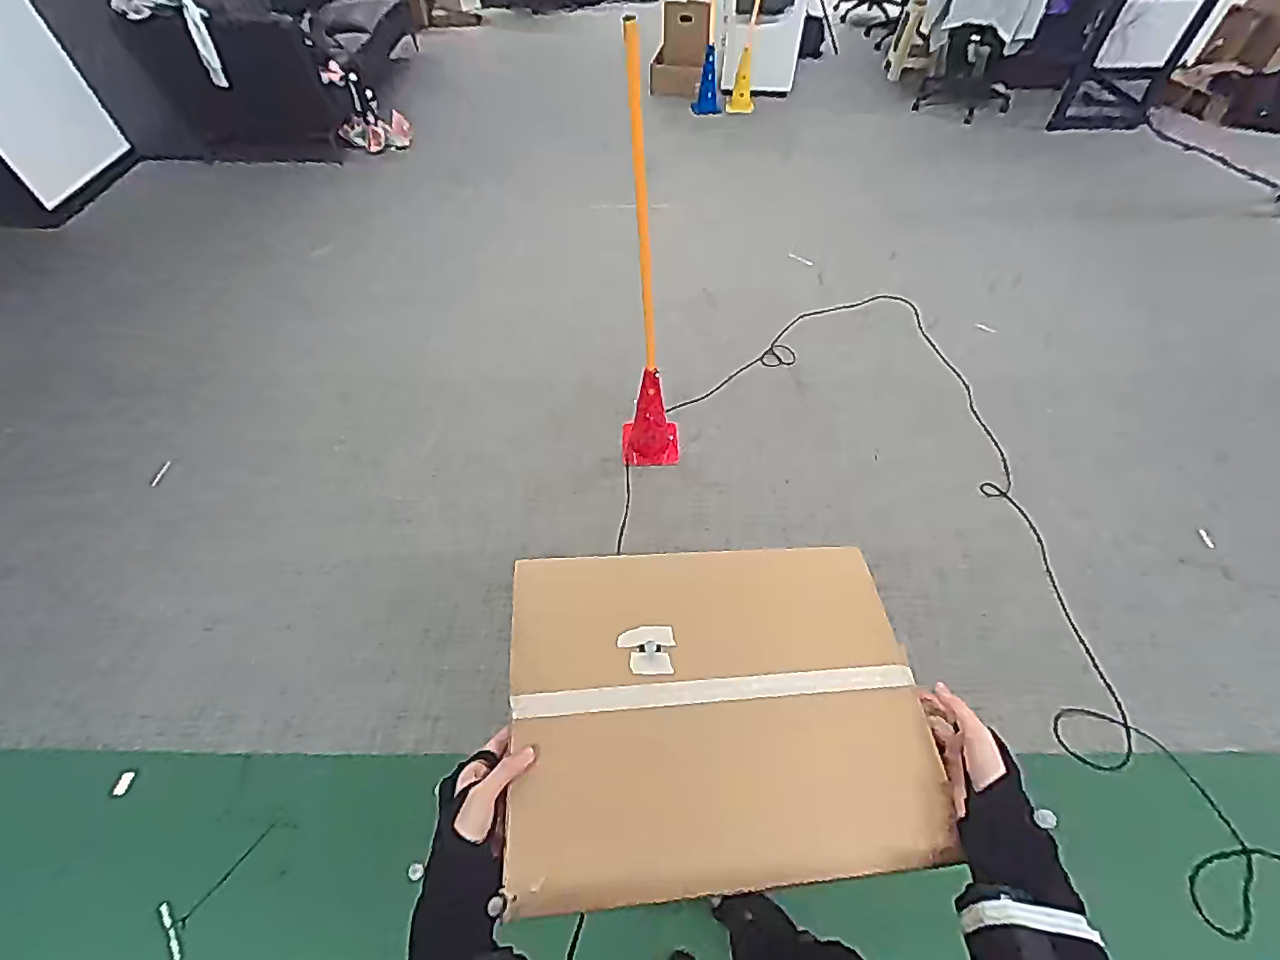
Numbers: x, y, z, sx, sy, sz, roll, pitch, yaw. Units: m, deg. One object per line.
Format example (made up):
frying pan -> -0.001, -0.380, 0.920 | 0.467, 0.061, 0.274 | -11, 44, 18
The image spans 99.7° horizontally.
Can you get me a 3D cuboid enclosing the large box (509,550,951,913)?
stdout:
large box -> 0.064, 0.302, 0.670 | 0.408, 0.320, 0.320 | -1, 55, -7
